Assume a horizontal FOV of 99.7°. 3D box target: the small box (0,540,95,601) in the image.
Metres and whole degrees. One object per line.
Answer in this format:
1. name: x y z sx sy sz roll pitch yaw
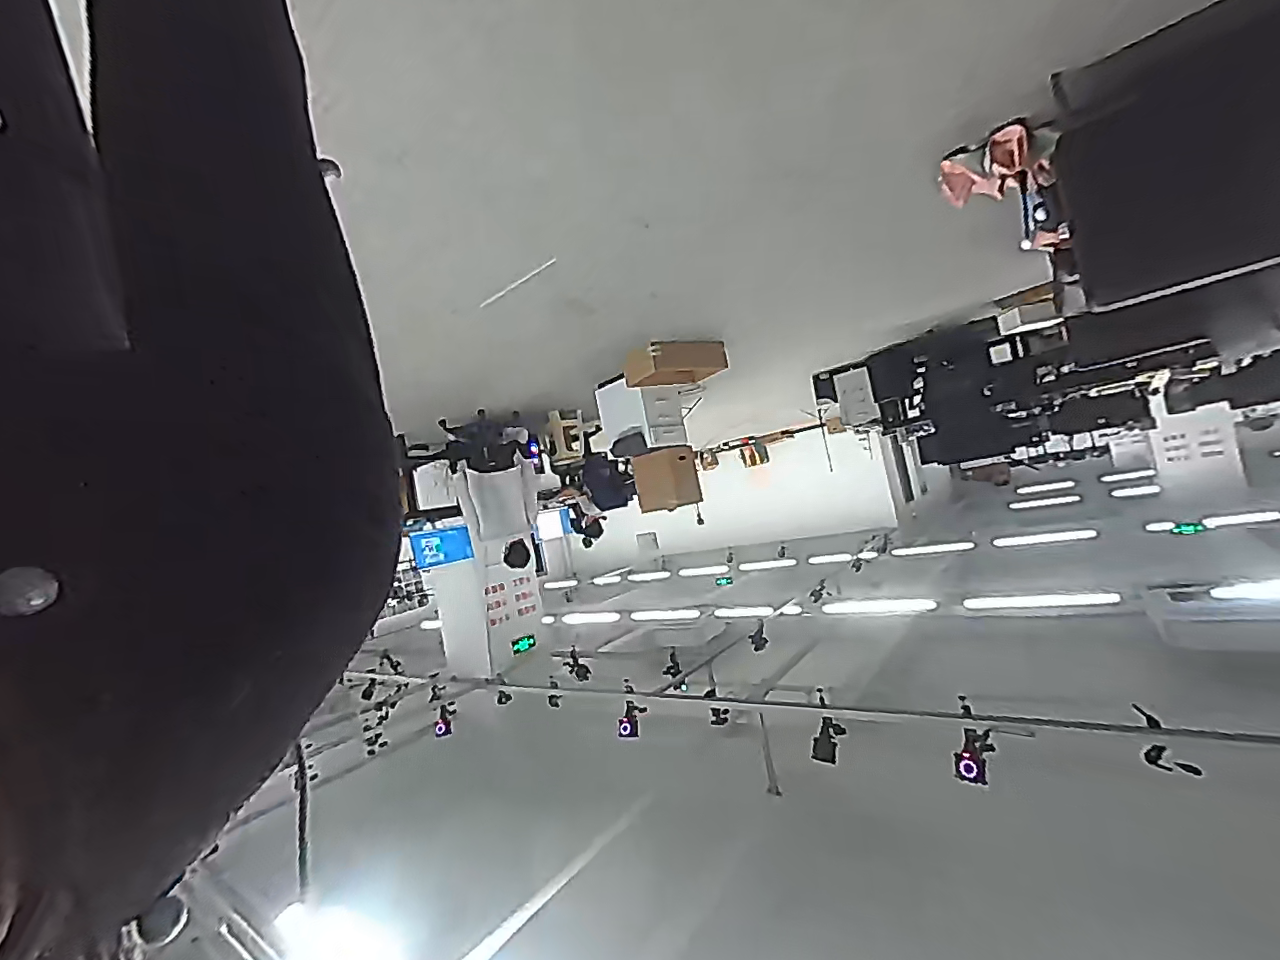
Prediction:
1. small box: -2.045 0.307 1.866 0.168 0.176 0.179 -13 177 25
